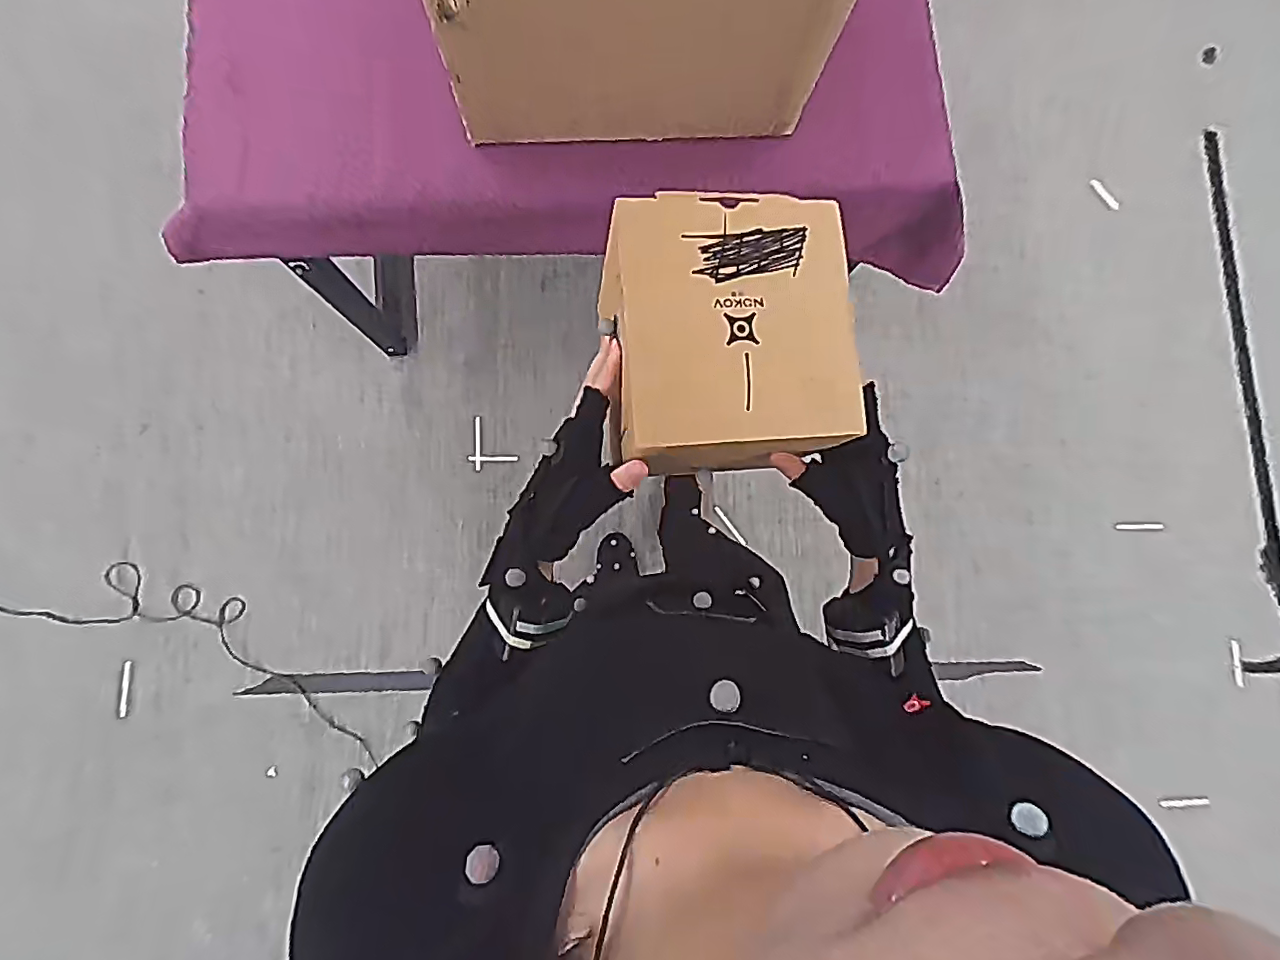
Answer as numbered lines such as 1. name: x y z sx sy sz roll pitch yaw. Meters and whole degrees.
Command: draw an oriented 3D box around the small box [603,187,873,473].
1. small box: 0.061 -0.109 0.448 0.168 0.176 0.179 -5 83 -8
